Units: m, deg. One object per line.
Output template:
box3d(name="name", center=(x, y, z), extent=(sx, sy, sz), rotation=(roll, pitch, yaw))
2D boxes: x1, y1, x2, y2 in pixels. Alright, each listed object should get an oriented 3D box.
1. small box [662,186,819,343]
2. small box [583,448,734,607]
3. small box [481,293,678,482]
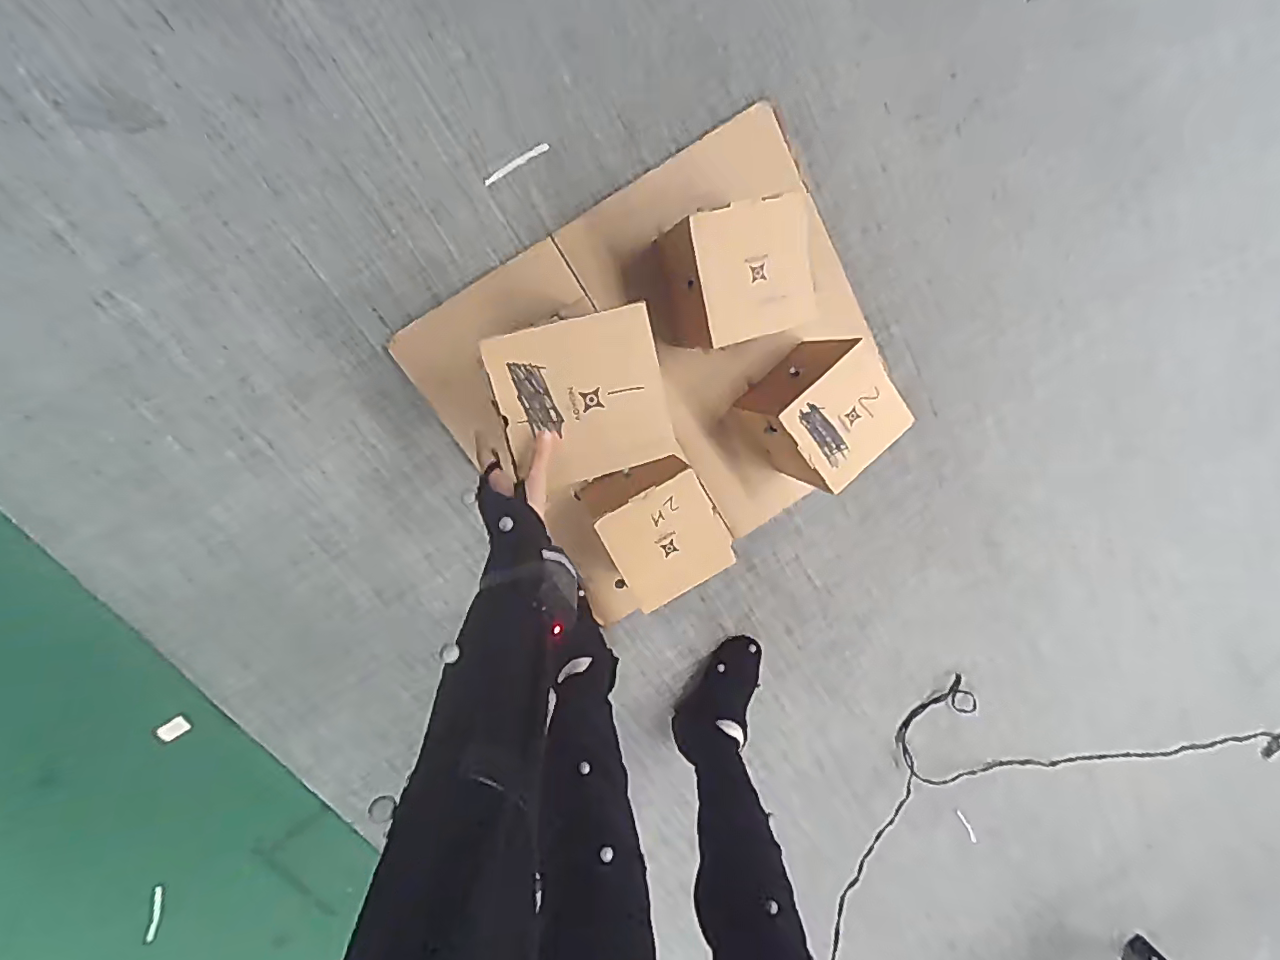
box3d(name="small box", center=(0.141, -0.308, 0.805), extent=(0.168, 0.176, 0.179), rotation=(-15, 107, -8))
box3d(name="small box", center=(0.023, 0.064, 0.871), extent=(0.168, 0.176, 0.179), rotation=(-29, 108, -5))
box3d(name="small box", center=(-0.074, -0.110, 0.635), extent=(0.179, 0.176, 0.168), rotation=(-16, 106, -10))
